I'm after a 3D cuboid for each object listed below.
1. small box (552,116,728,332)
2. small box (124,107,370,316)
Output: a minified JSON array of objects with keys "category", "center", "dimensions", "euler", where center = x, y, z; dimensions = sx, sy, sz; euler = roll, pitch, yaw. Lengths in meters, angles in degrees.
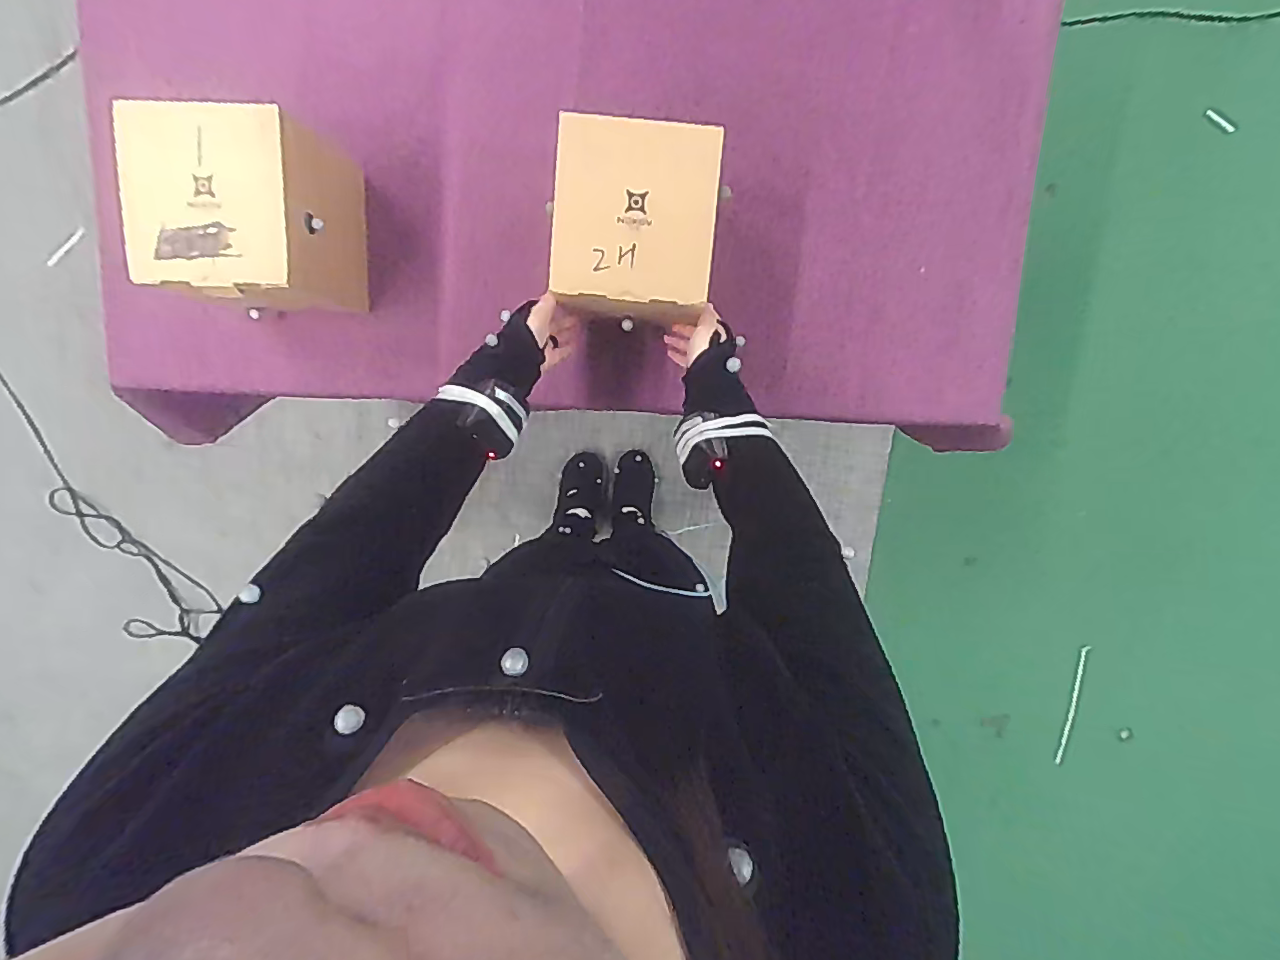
[{"category":"small box","center":[-0.002,-0.279,0.627],"dimensions":[0.168,0.176,0.179],"euler":[6,98,0]},{"category":"small box","center":[-0.434,-0.293,0.628],"dimensions":[0.168,0.176,0.179],"euler":[2,97,0]}]
